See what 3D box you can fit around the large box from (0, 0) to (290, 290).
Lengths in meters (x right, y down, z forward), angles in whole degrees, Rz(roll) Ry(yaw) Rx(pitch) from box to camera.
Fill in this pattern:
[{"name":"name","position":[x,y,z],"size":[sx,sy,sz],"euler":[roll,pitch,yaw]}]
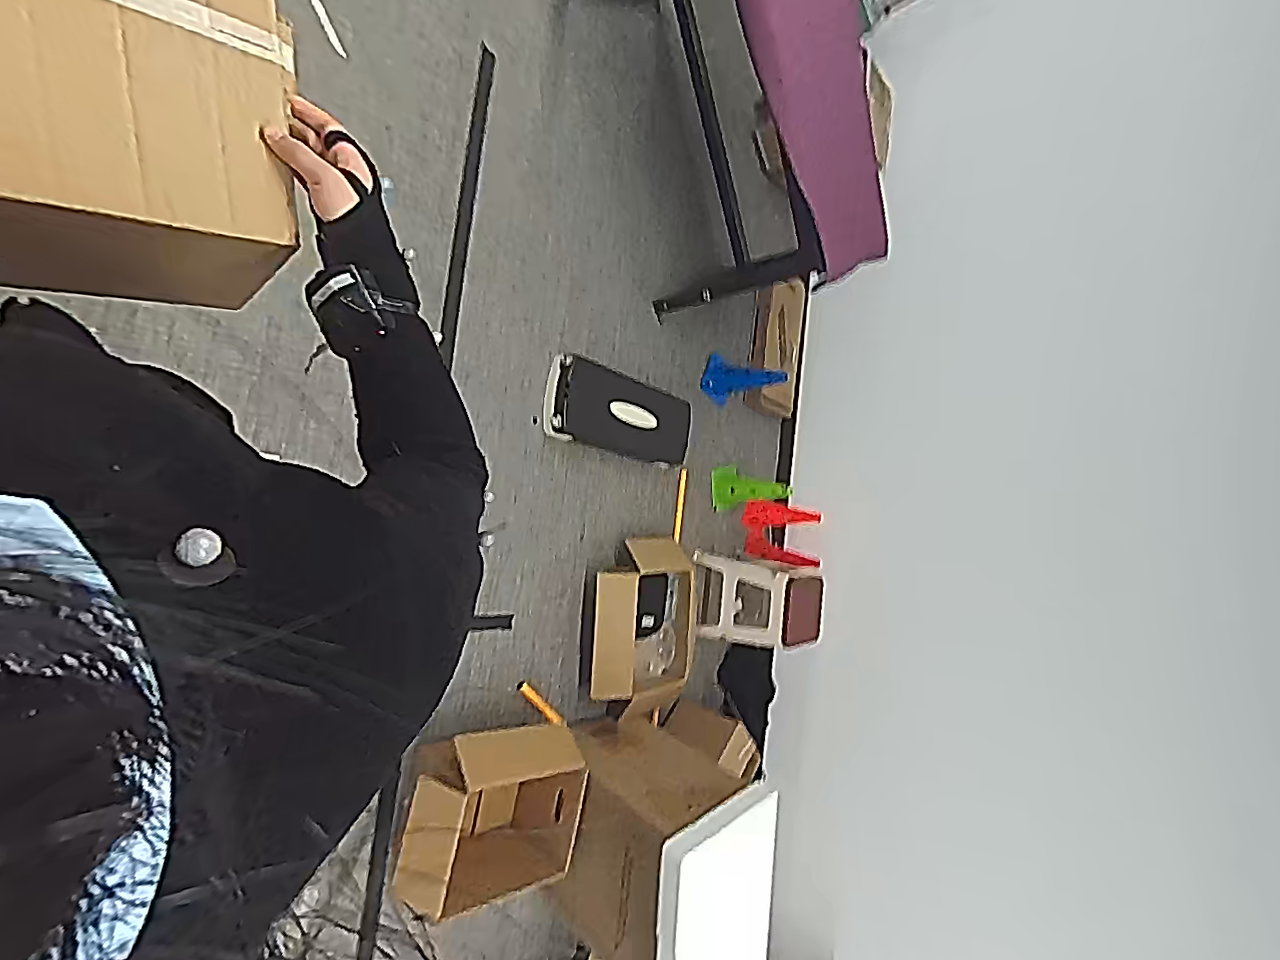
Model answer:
[{"name":"large box","position":[-0.559,-0.354,0.429],"size":[0.408,0.320,0.320],"euler":[-9,98,-43]}]
